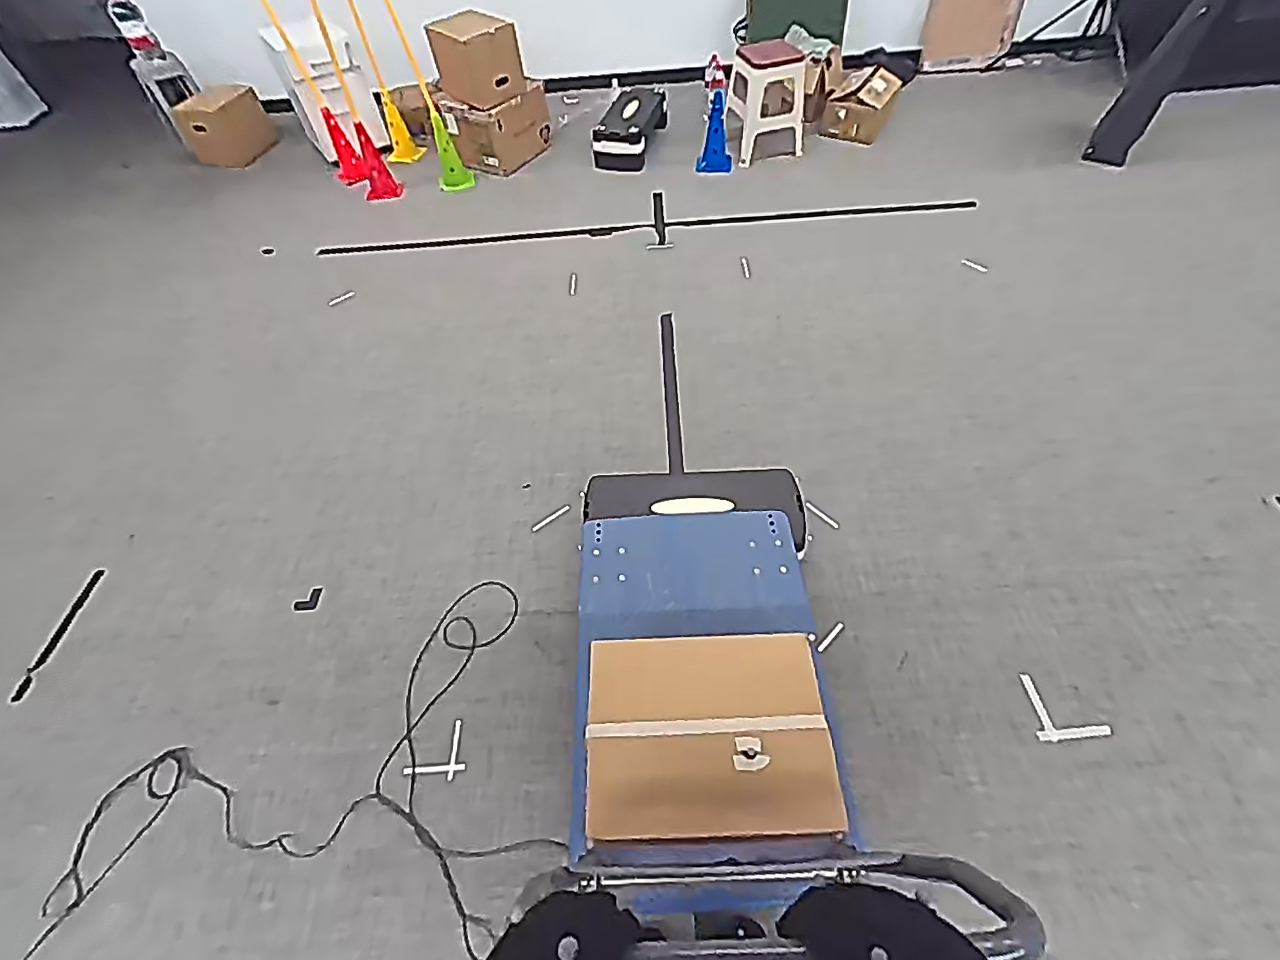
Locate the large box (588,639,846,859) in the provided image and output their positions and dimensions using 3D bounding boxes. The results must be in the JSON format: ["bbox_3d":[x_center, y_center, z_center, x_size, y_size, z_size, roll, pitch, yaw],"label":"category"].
[{"bbox_3d":[0.115,0.517,1.028,0.408,0.320,0.320,-3,54,1],"label":"large box"}]
